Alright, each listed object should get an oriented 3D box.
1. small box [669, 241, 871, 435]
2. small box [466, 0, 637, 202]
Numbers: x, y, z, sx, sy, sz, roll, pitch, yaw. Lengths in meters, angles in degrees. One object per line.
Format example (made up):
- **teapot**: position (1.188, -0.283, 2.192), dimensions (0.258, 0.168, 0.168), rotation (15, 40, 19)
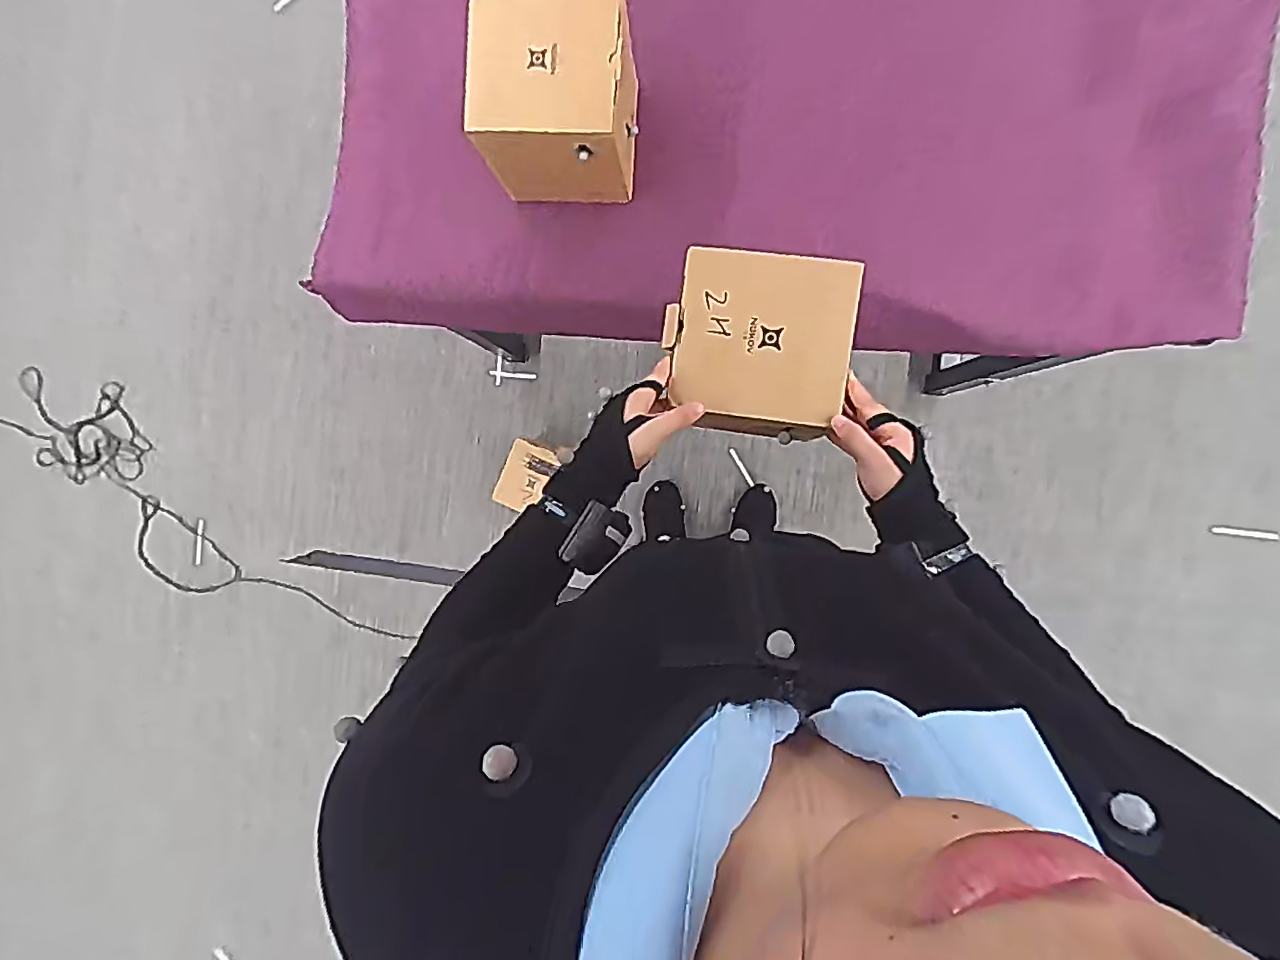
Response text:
- **small box**: position (0.136, -0.146, 0.613), dimensions (0.179, 0.176, 0.168), rotation (9, 90, 7)
- **small box**: position (-0.101, -0.473, 0.685), dimensions (0.179, 0.176, 0.168), rotation (3, 92, 4)
